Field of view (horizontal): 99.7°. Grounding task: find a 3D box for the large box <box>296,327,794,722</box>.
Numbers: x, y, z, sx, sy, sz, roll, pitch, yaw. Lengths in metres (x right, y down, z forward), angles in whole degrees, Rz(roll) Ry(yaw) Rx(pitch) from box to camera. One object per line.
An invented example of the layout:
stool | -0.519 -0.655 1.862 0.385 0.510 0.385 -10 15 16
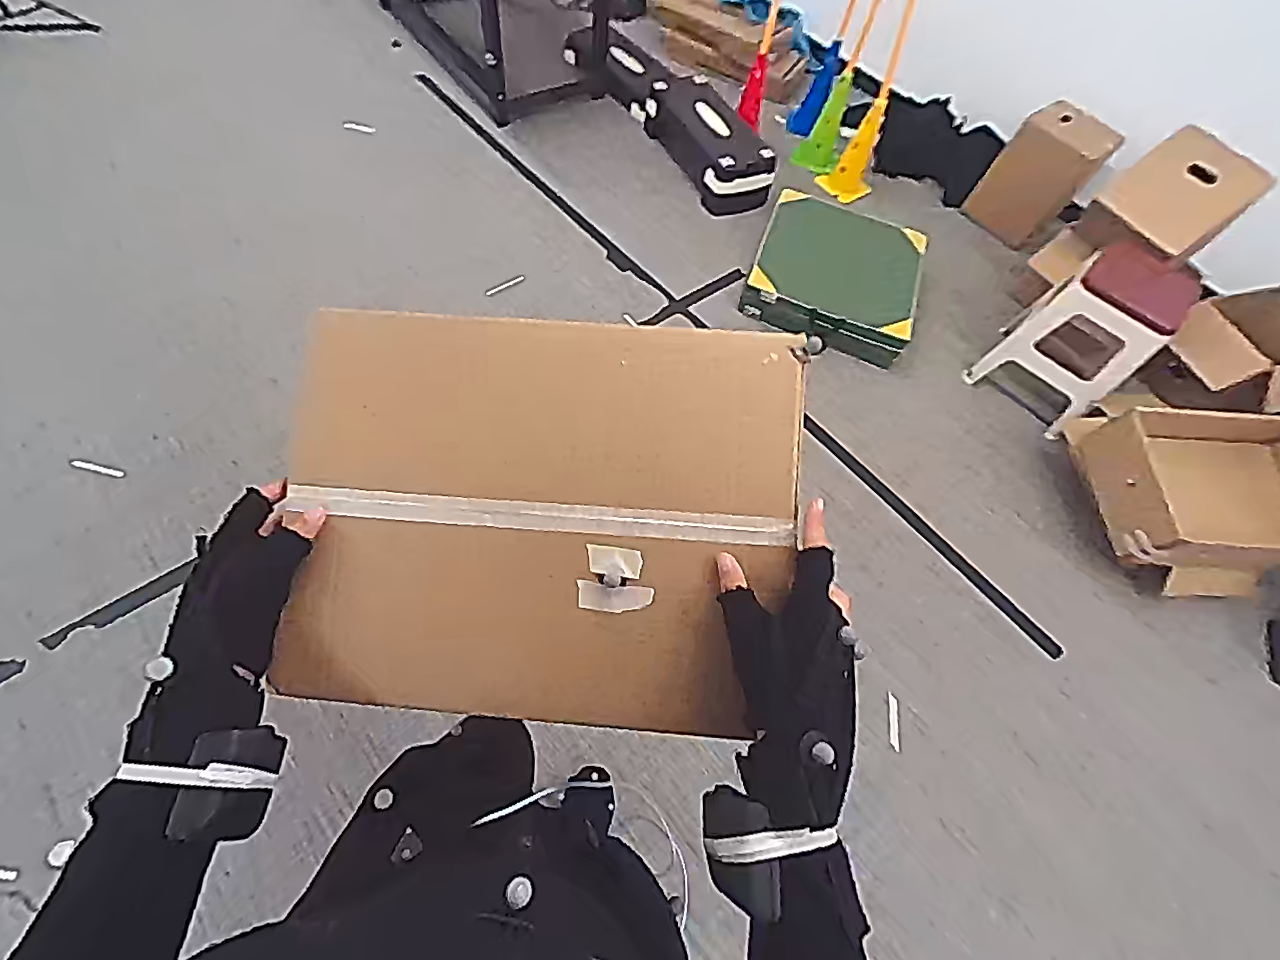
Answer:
large box | -0.073 0.042 0.594 0.408 0.320 0.320 4 87 2
